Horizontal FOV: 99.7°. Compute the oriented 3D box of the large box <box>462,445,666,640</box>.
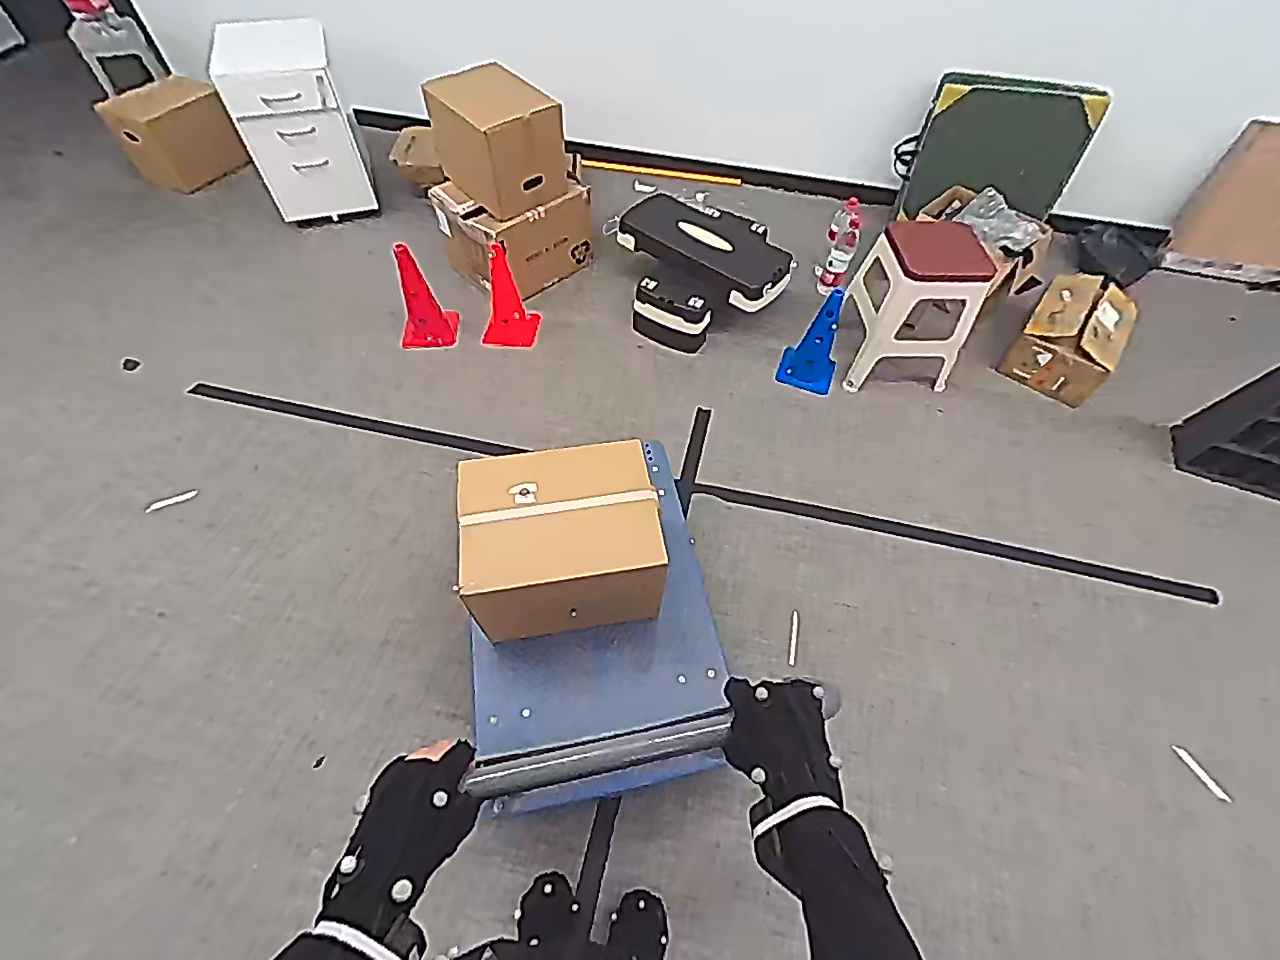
[{"bbox_3d":[-0.171,0.153,1.257,0.408,0.320,0.320,-8,57,-6],"label":"large box"}]
